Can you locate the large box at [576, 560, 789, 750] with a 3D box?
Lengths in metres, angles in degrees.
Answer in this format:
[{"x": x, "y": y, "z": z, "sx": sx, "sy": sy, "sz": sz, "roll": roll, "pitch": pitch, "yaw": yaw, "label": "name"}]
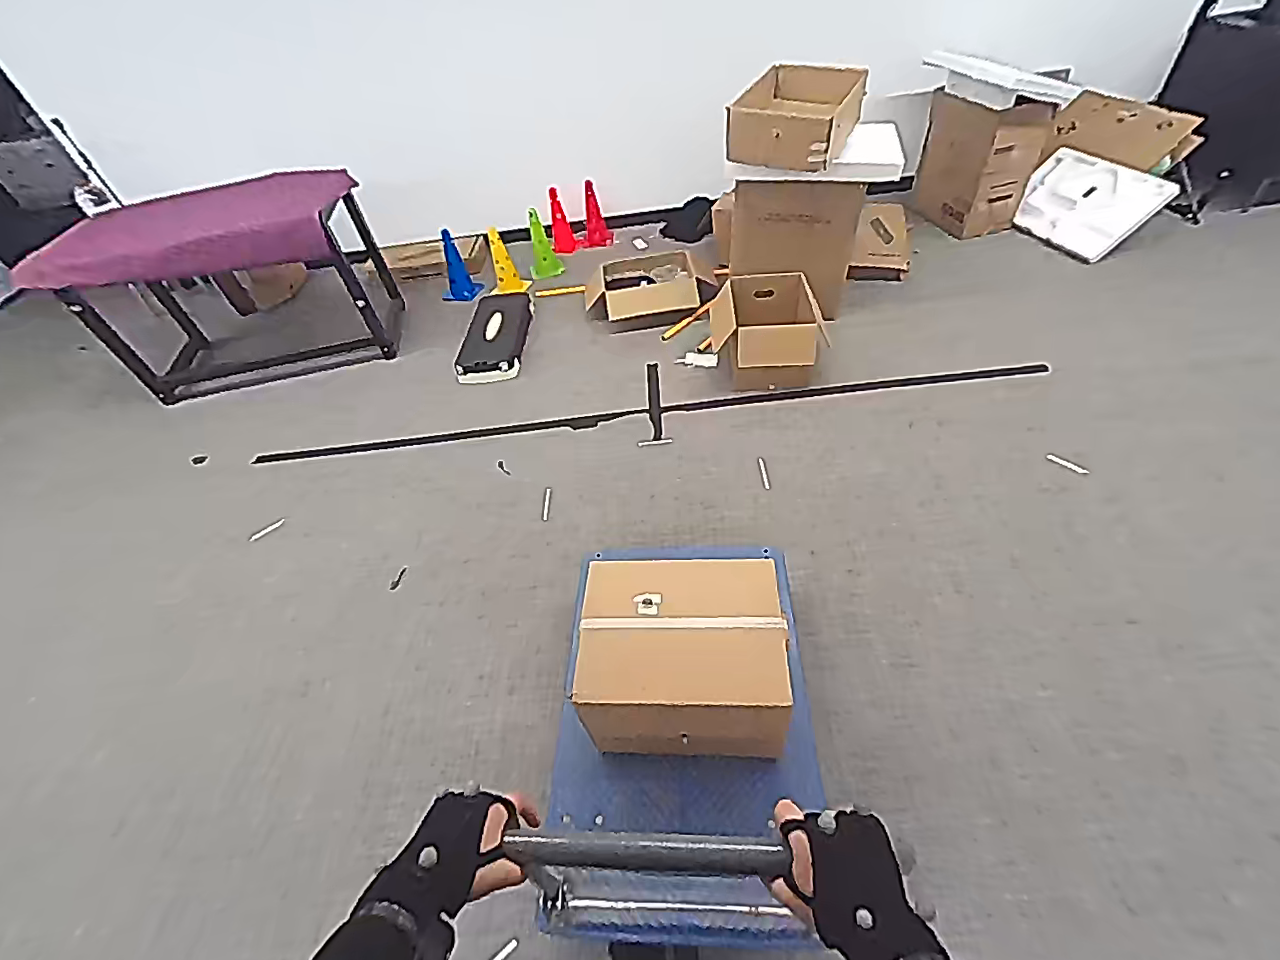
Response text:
[{"x": 0.100, "y": 0.399, "z": 1.211, "sx": 0.408, "sy": 0.320, "sz": 0.320, "roll": -3, "pitch": 47, "yaw": 7, "label": "large box"}]
